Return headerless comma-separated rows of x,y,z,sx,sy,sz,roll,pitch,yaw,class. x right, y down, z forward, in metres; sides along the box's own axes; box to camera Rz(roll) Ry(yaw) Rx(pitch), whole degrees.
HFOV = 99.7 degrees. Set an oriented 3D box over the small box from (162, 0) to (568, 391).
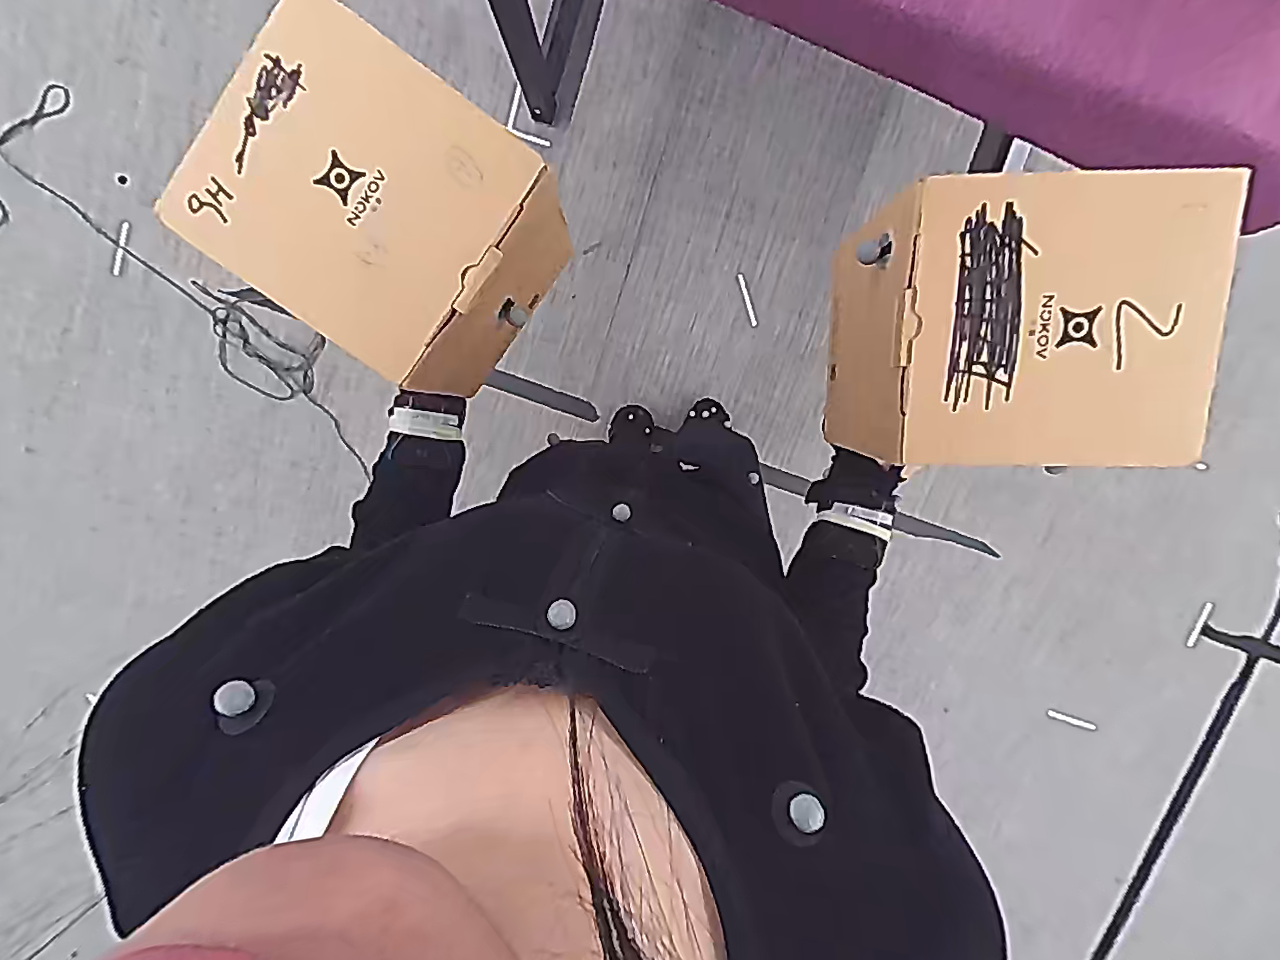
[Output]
-0.168,-0.182,0.400,0.179,0.176,0.168,36,94,-7,small box
